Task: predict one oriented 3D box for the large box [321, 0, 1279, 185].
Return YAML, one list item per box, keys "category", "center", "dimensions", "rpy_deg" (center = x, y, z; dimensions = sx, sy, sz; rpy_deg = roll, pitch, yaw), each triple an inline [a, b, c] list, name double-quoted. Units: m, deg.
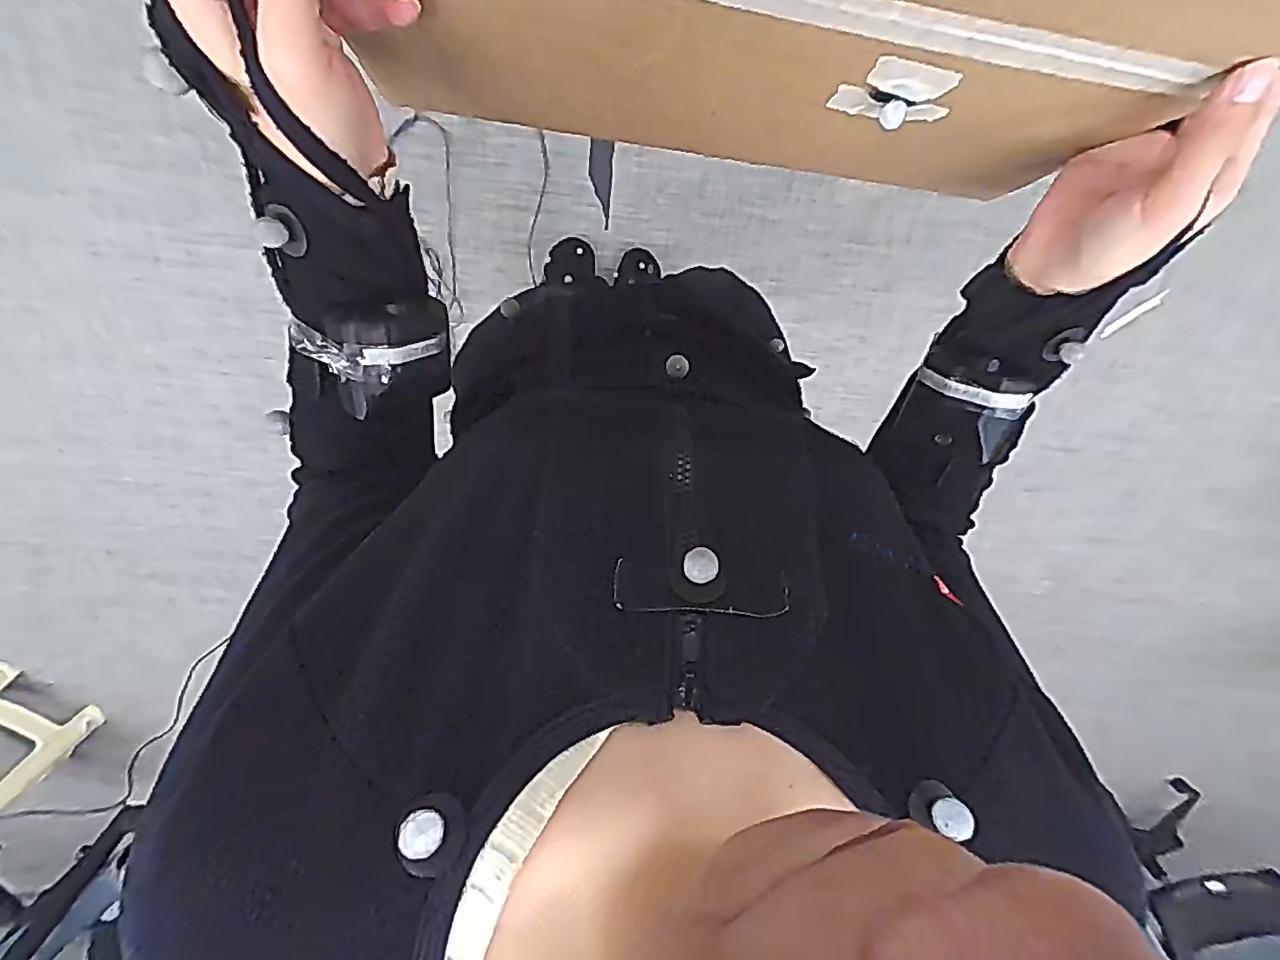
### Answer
- category: "large box"
  center: [0.071, -0.341, 0.185]
  dimensions: [0.408, 0.320, 0.320]
  rpy_deg: [3, 101, -7]
